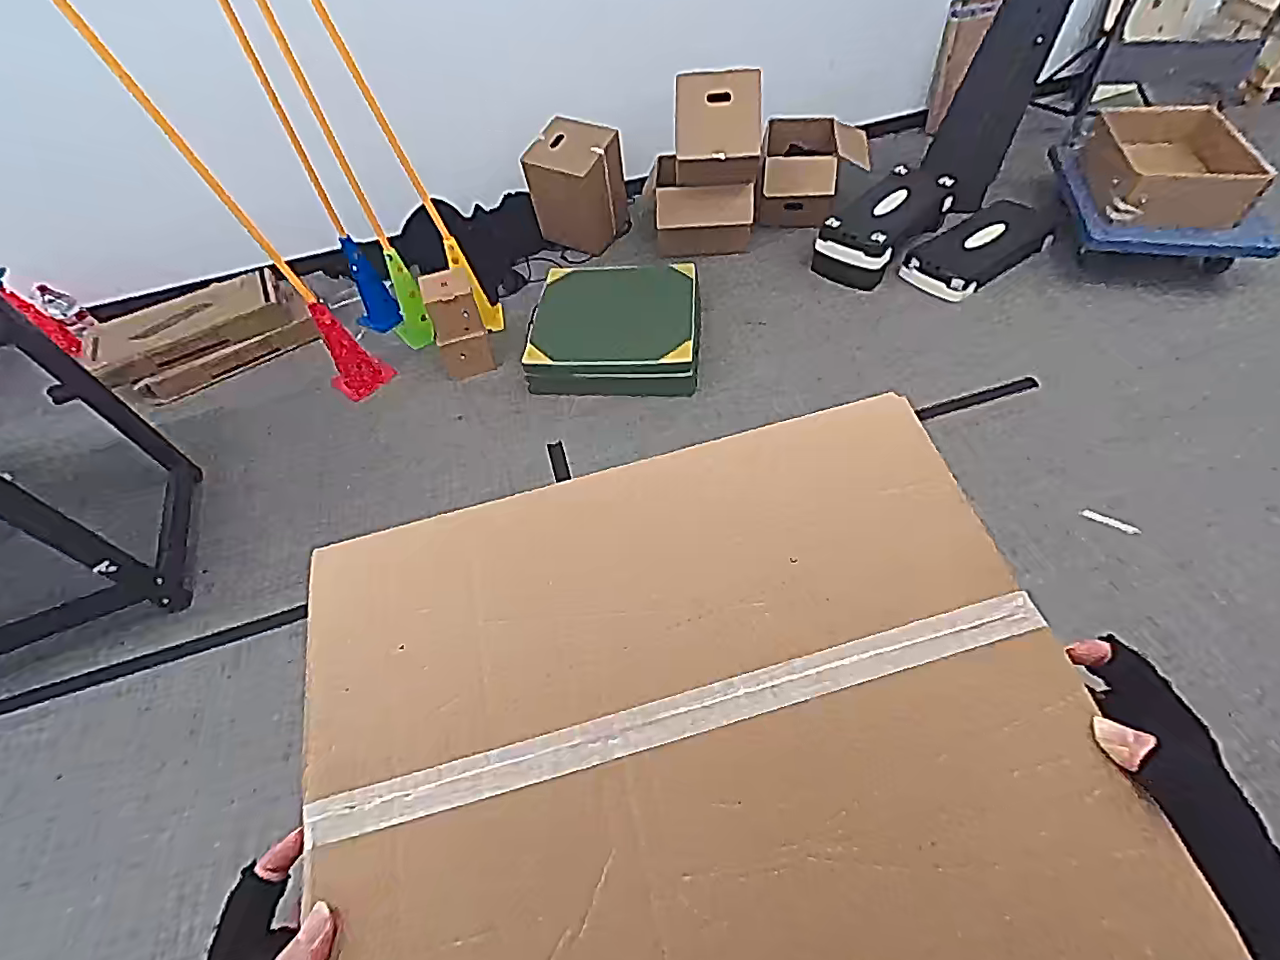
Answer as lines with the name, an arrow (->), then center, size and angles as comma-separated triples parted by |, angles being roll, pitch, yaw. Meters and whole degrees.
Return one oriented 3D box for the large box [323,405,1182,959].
large box -> 0.035, 0.196, 0.435 | 0.408, 0.320, 0.320 | -16, 62, -2
